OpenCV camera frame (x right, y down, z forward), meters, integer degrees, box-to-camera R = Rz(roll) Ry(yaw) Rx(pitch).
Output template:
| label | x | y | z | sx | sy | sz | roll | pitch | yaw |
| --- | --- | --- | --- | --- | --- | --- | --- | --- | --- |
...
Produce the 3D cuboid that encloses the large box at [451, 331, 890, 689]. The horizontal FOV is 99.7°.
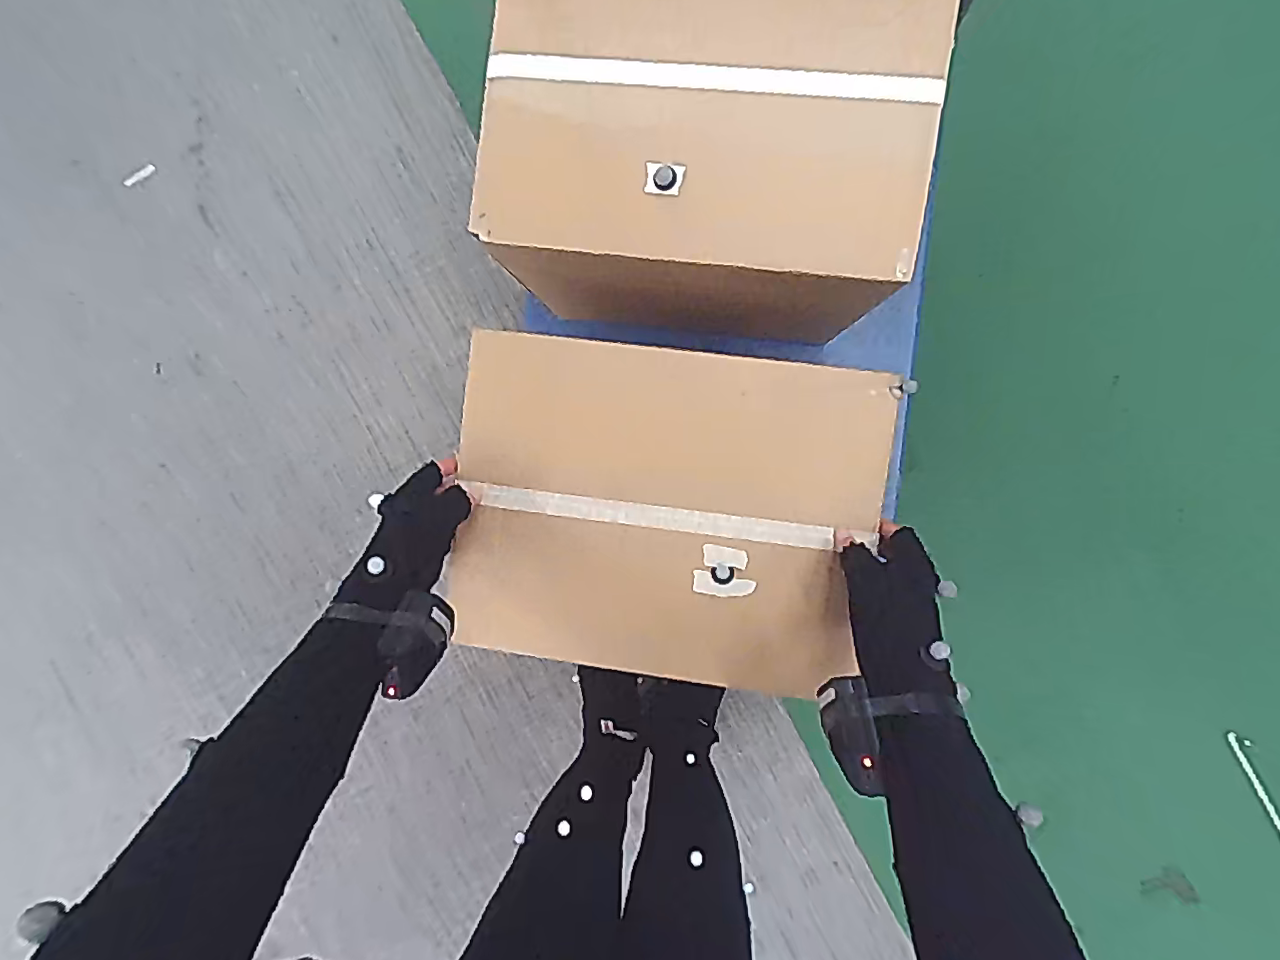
| label | x | y | z | sx | sy | sz | roll | pitch | yaw |
| --- | --- | --- | --- | --- | --- | --- | --- | --- | --- |
| large box | 0.031 | 0.024 | 0.673 | 0.408 | 0.320 | 0.320 | 8 | 93 | 4 |
